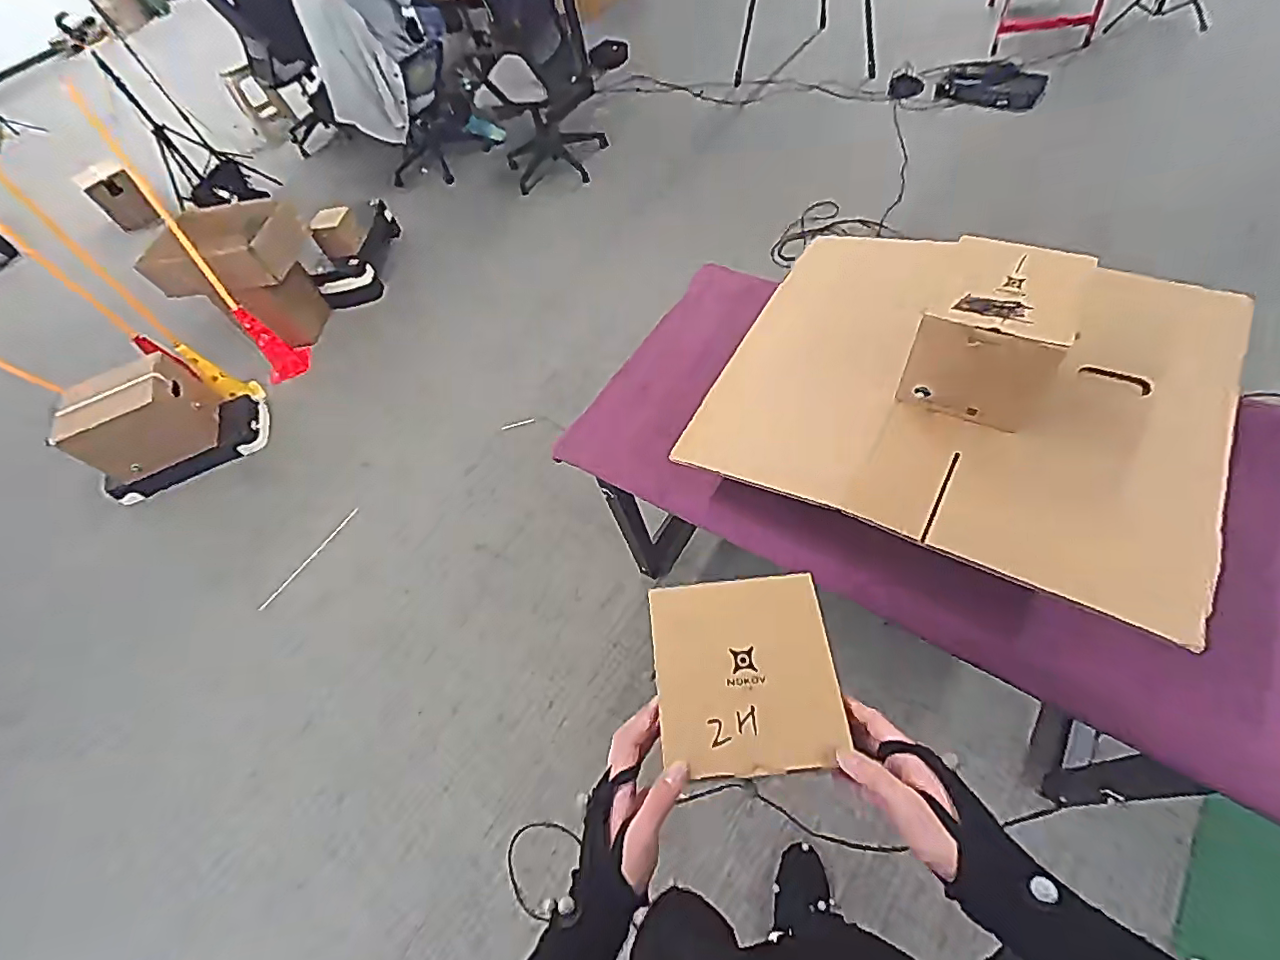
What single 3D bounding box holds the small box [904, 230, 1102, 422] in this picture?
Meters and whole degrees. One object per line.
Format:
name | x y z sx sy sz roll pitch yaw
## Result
small box | 0.488 -0.209 0.752 0.168 0.176 0.179 24 65 23
